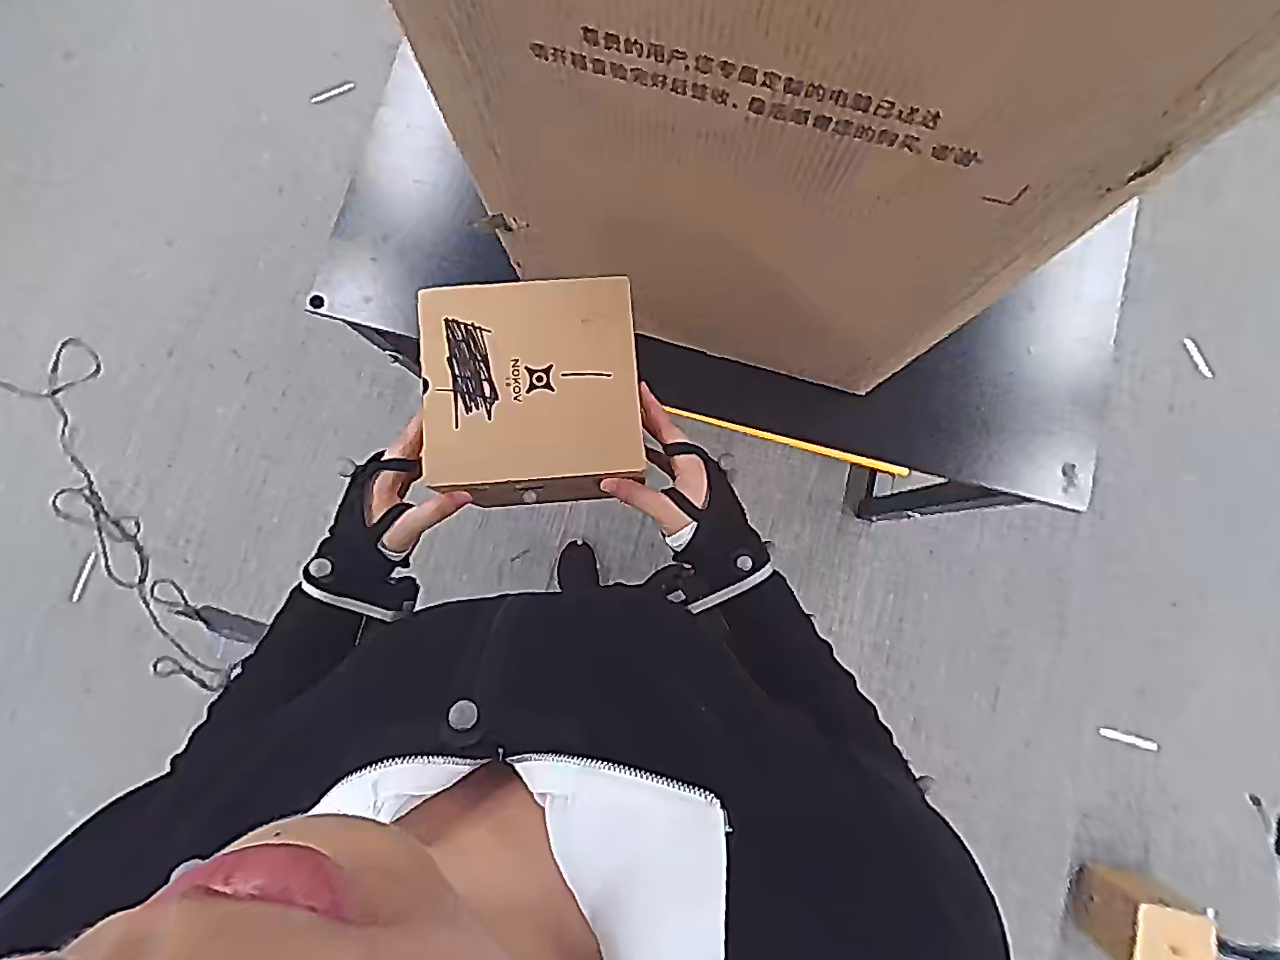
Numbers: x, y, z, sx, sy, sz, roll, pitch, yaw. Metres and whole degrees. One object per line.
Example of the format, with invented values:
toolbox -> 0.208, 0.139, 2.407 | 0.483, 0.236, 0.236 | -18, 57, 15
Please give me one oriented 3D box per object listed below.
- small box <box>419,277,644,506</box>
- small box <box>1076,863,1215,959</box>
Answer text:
small box -> -0.087, -0.068, 0.507 | 0.179, 0.176, 0.168 | -4, 82, -1
small box -> 1.206, 1.062, 1.298 | 0.179, 0.176, 0.168 | 10, 83, 3
